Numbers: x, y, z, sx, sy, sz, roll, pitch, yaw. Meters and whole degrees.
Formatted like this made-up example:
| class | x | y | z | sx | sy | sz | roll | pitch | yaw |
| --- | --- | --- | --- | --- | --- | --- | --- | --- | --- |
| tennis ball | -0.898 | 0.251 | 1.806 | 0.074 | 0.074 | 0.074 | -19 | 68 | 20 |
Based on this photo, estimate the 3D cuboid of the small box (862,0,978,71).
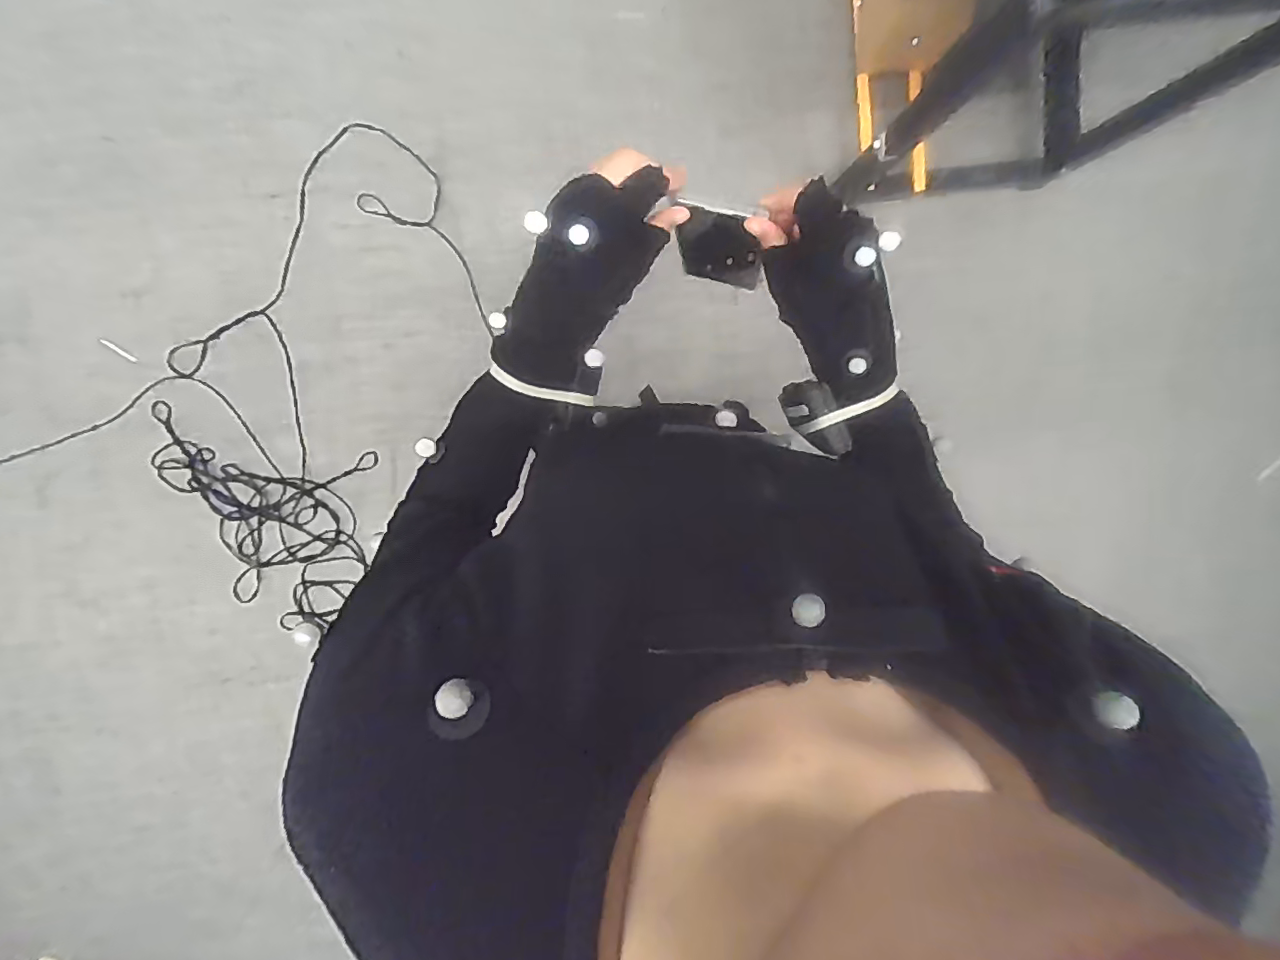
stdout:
| class | x | y | z | sx | sy | sz | roll | pitch | yaw |
| --- | --- | --- | --- | --- | --- | --- | --- | --- | --- |
| small box | 0.597 | -1.022 | 1.170 | 0.179 | 0.176 | 0.168 | -3 | 98 | -2 |
